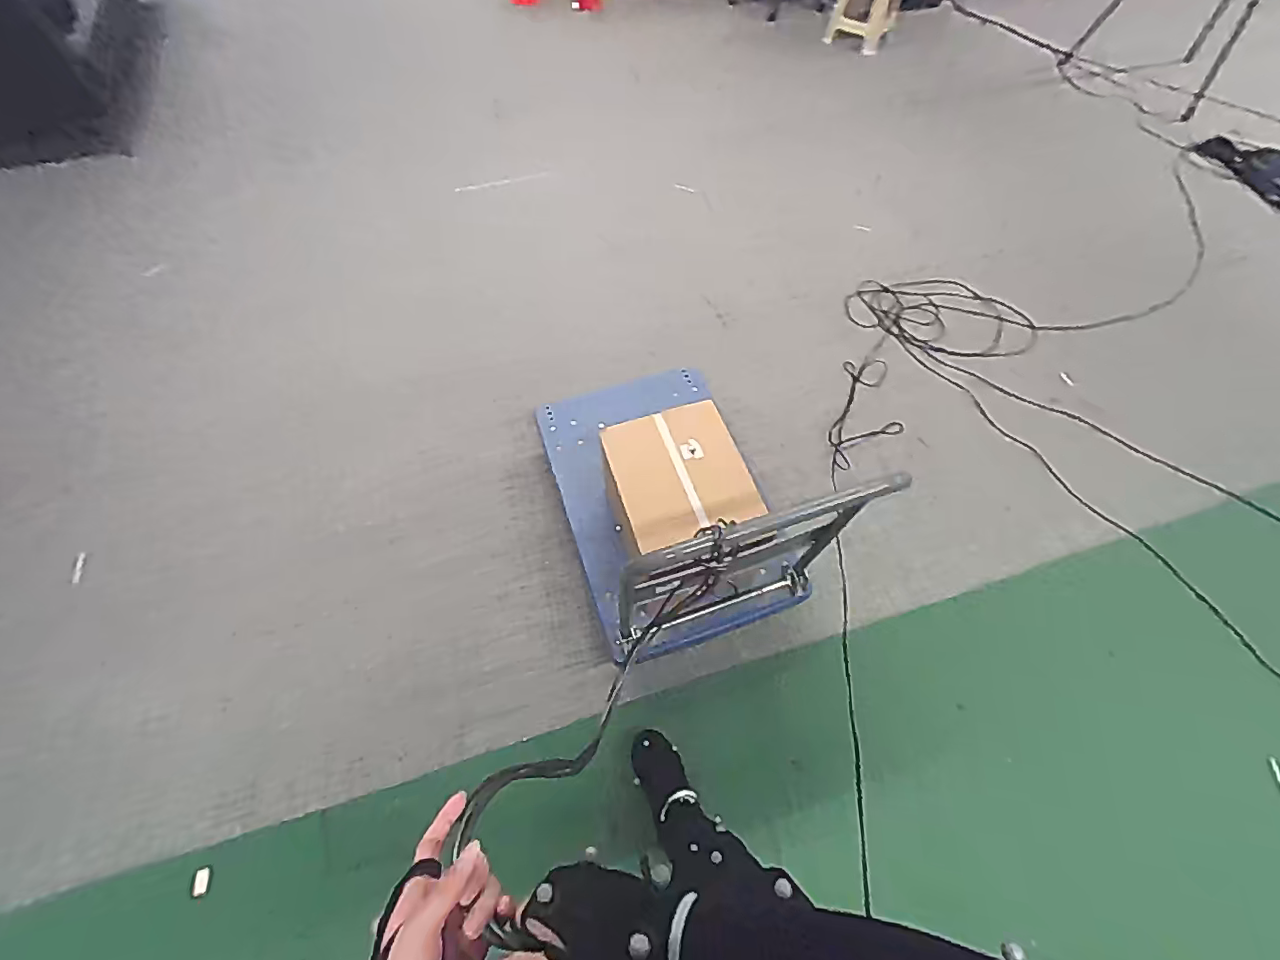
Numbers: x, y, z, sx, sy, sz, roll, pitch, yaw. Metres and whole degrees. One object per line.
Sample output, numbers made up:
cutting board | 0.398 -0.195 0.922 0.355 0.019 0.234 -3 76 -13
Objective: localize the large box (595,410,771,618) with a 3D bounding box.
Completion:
large box | 0.096 0.093 1.428 0.320 0.320 0.408 -16 60 -10
